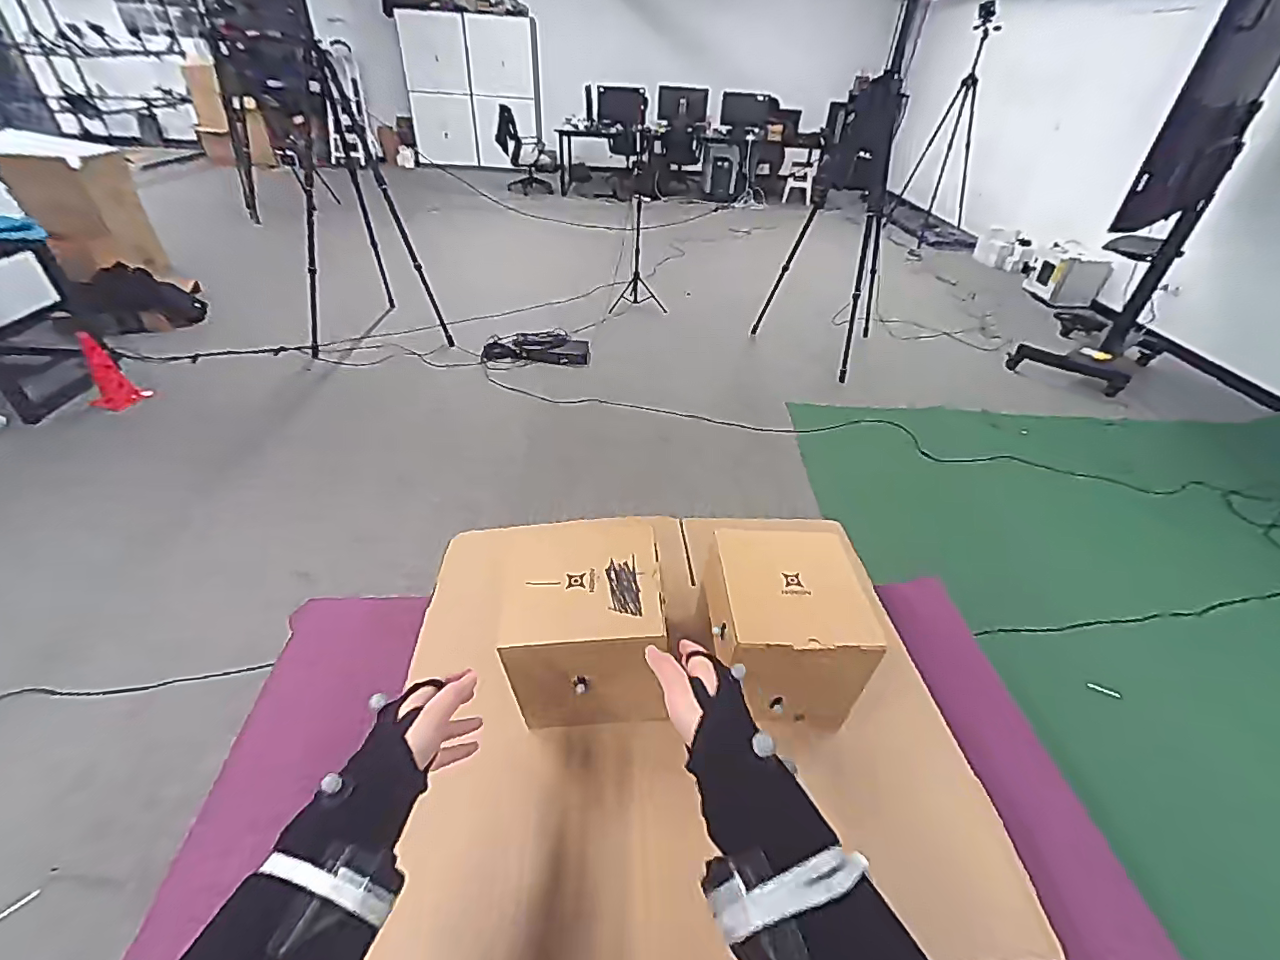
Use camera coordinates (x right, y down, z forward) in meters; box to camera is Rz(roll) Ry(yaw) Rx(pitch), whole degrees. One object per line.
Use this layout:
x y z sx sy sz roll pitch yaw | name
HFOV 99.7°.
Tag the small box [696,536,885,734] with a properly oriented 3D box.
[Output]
0.170 0.193 0.681 0.168 0.176 0.179 3 39 -5 | small box
